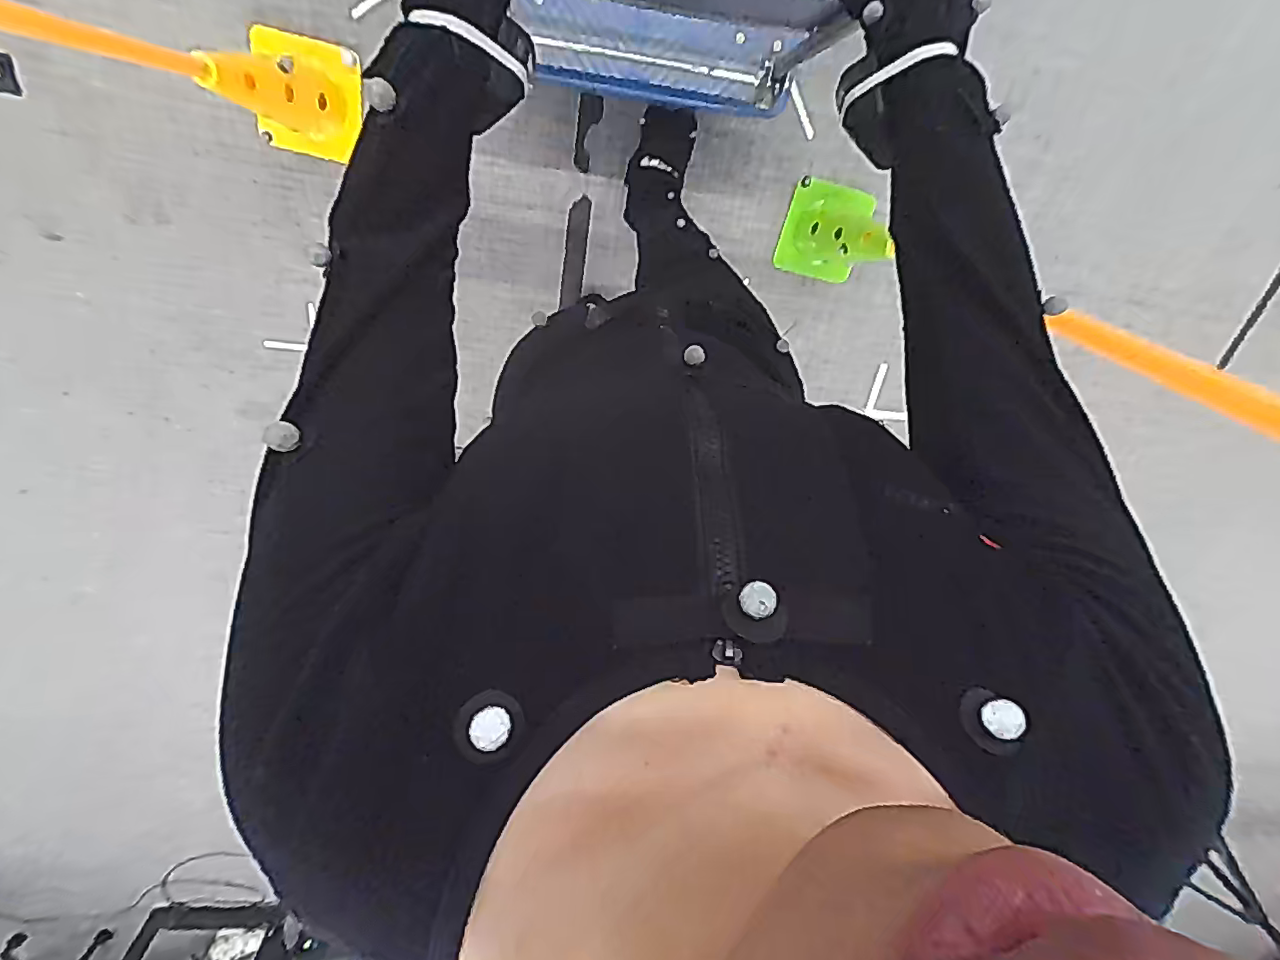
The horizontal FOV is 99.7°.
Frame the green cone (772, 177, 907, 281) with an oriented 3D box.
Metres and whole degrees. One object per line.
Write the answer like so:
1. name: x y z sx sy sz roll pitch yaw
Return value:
1. green cone: 0.447 -0.509 1.141 0.202 0.368 0.200 9 118 -11
